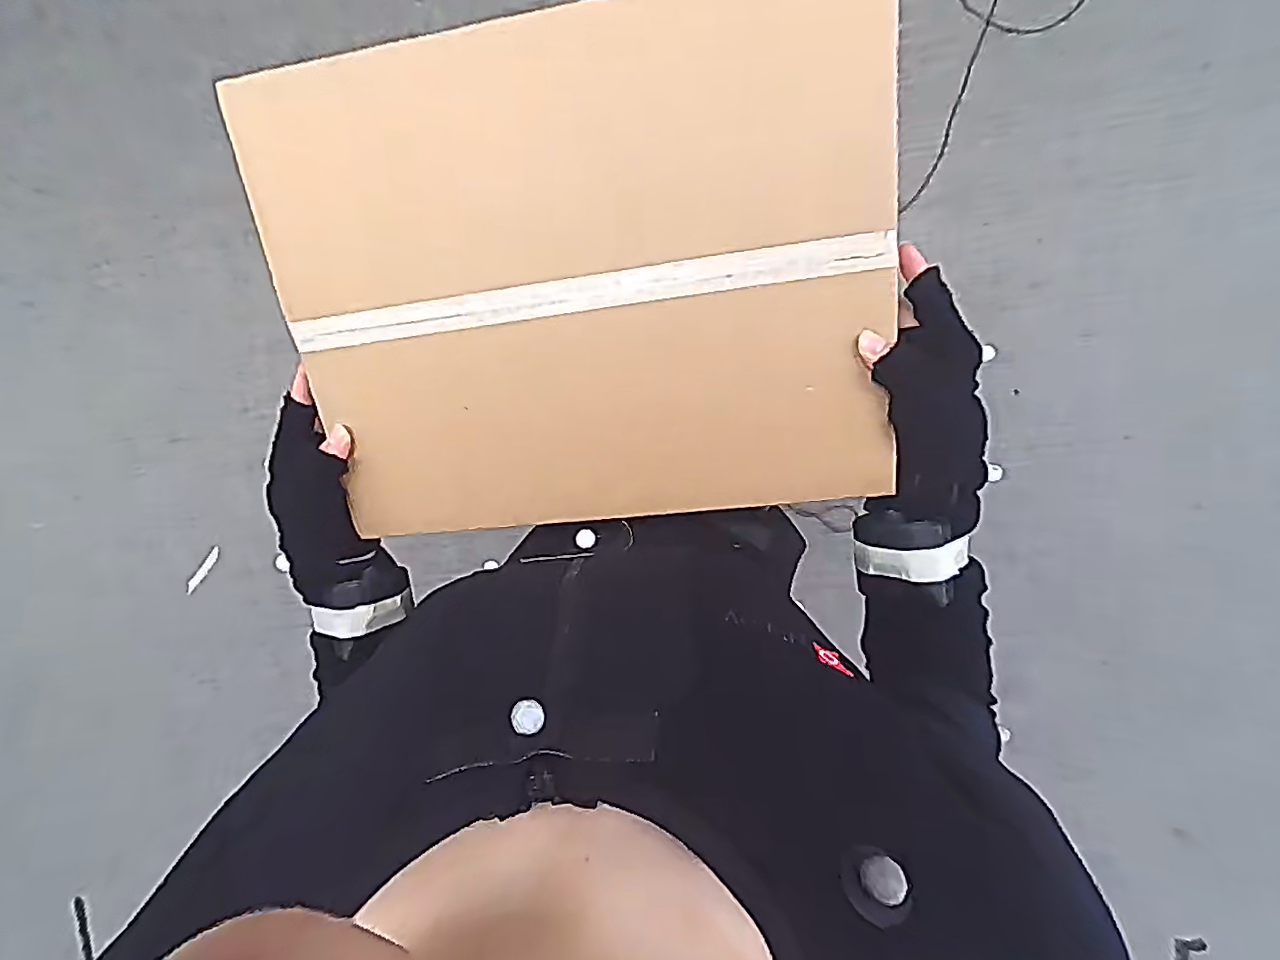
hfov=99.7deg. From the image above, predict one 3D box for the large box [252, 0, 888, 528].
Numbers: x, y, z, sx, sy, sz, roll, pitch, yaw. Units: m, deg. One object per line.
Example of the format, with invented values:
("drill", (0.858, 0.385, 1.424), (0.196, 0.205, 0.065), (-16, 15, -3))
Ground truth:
("large box", (-0.027, -0.170, 0.507), (0.408, 0.320, 0.320), (-5, 108, 8))
